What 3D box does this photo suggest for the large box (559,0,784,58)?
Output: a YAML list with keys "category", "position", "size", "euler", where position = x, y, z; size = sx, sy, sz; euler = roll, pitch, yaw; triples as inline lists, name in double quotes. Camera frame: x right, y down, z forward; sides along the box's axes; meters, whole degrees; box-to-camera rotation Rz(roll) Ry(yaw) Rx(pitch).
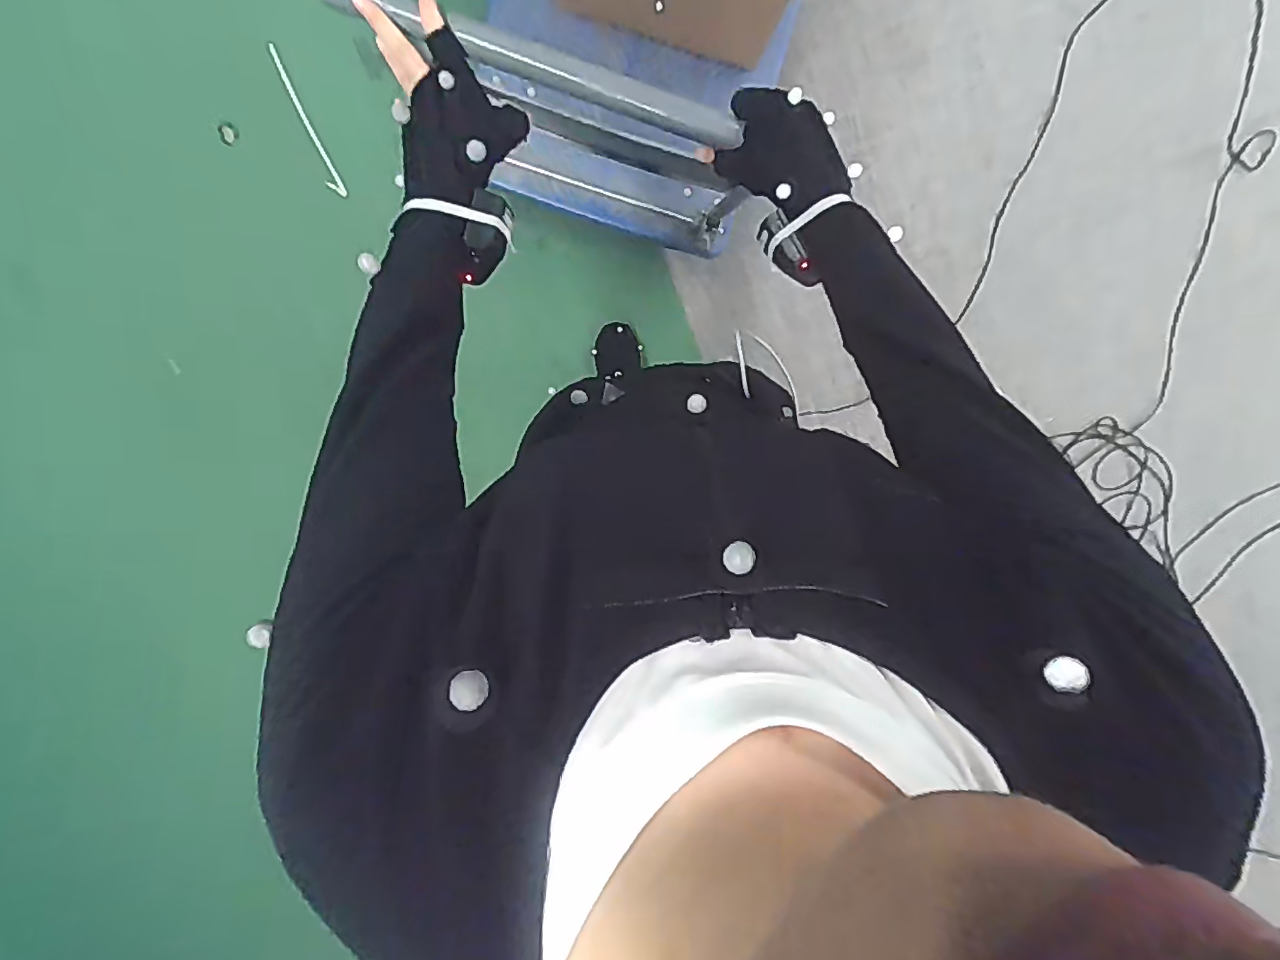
- category: "large box"
  position: [0.071, -0.973, 0.877]
  size: [0.408, 0.320, 0.320]
  euler: [13, 105, -5]
